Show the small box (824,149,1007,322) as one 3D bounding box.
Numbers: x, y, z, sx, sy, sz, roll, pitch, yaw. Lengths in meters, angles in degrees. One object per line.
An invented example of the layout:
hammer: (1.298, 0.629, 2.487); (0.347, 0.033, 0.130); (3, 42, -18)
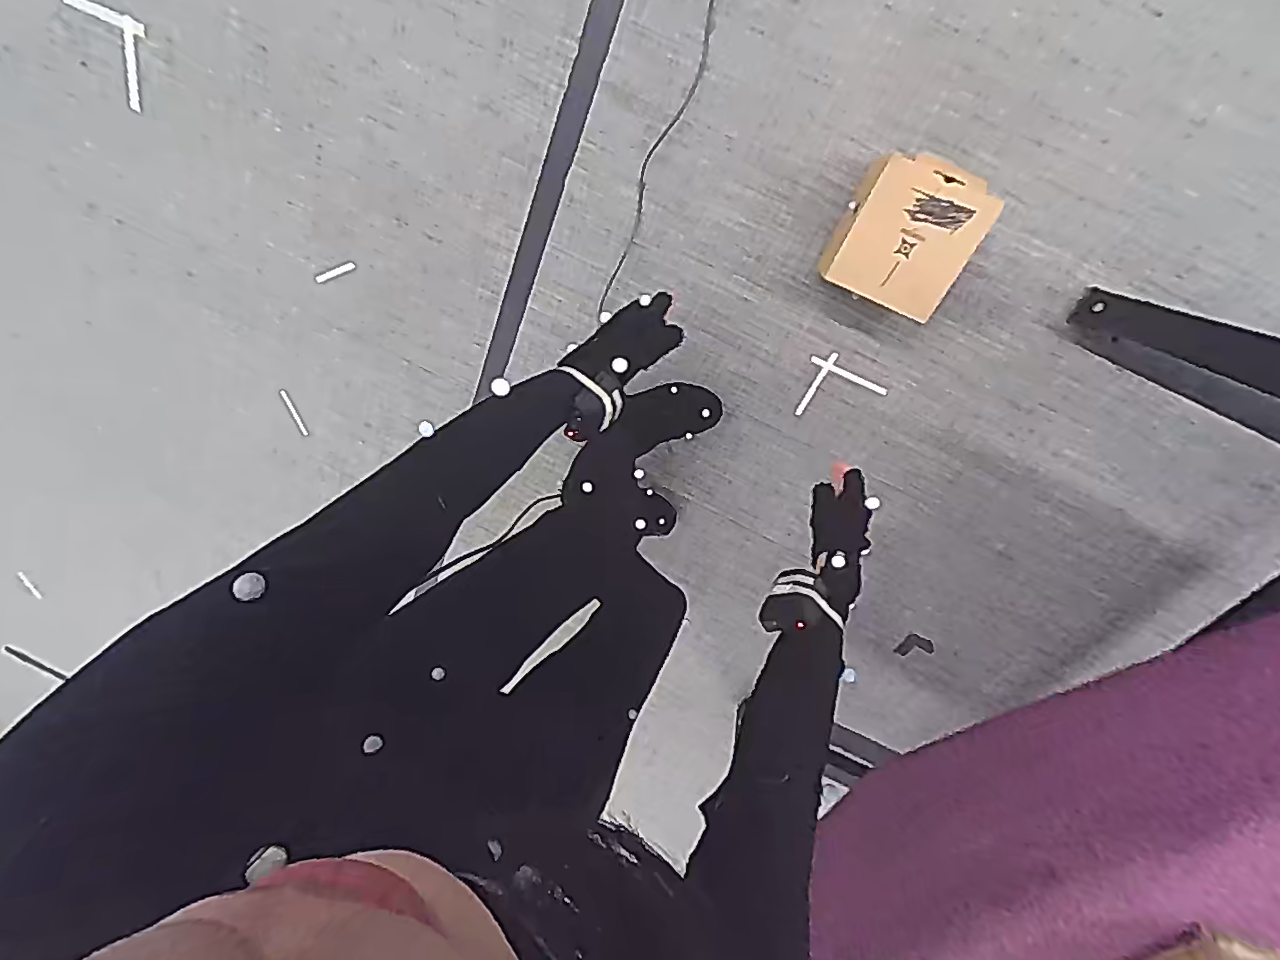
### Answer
small box: (0.393, -0.367, 0.815); (0.168, 0.176, 0.179); (25, 120, 1)
